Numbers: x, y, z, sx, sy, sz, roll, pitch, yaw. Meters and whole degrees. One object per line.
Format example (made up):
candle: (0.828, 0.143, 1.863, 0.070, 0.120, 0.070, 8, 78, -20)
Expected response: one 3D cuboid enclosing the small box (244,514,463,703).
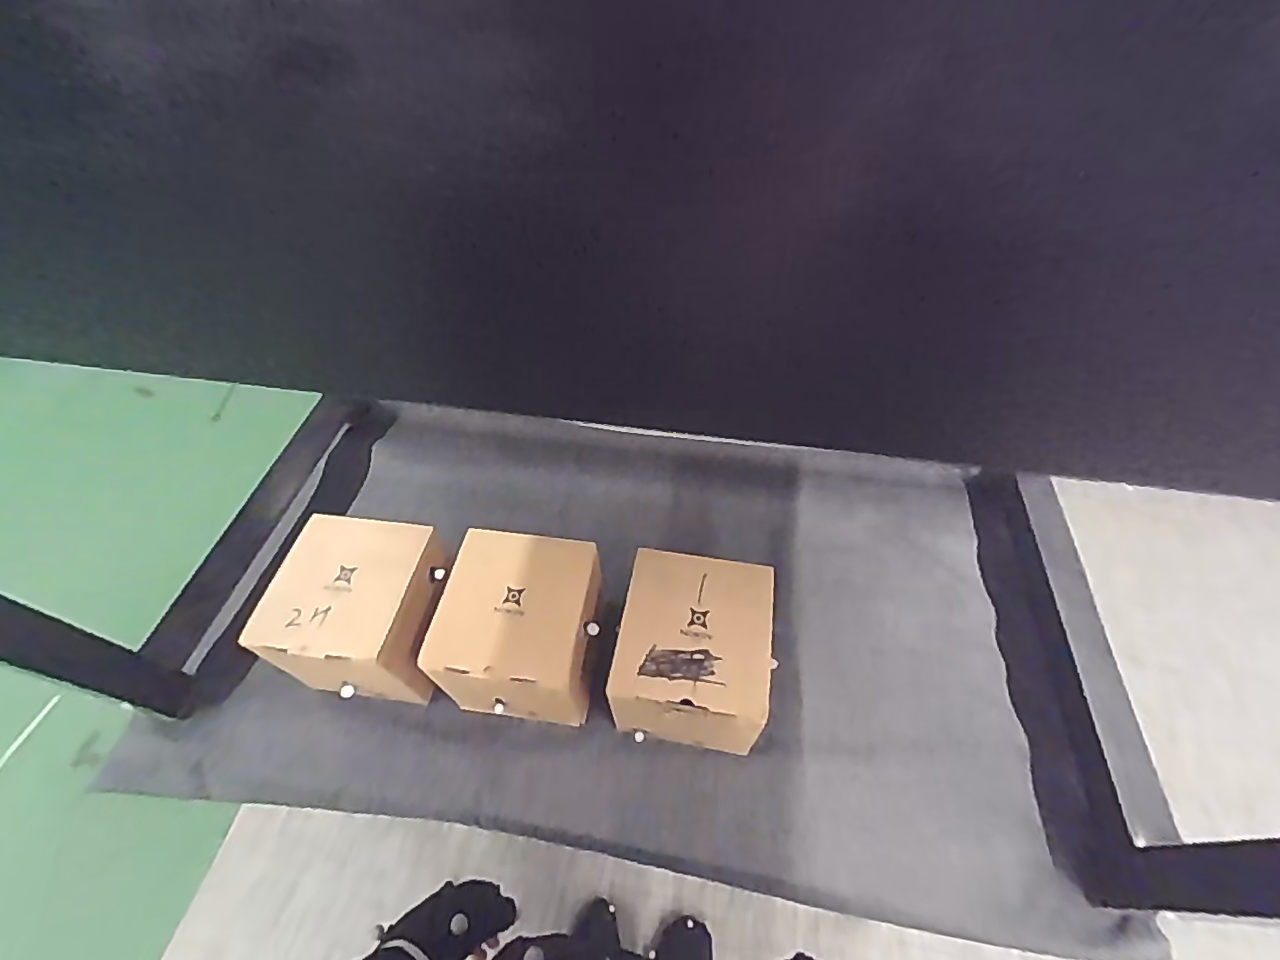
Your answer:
small box: (-0.347, 0.169, 0.704, 0.168, 0.176, 0.179, 5, 53, 6)
